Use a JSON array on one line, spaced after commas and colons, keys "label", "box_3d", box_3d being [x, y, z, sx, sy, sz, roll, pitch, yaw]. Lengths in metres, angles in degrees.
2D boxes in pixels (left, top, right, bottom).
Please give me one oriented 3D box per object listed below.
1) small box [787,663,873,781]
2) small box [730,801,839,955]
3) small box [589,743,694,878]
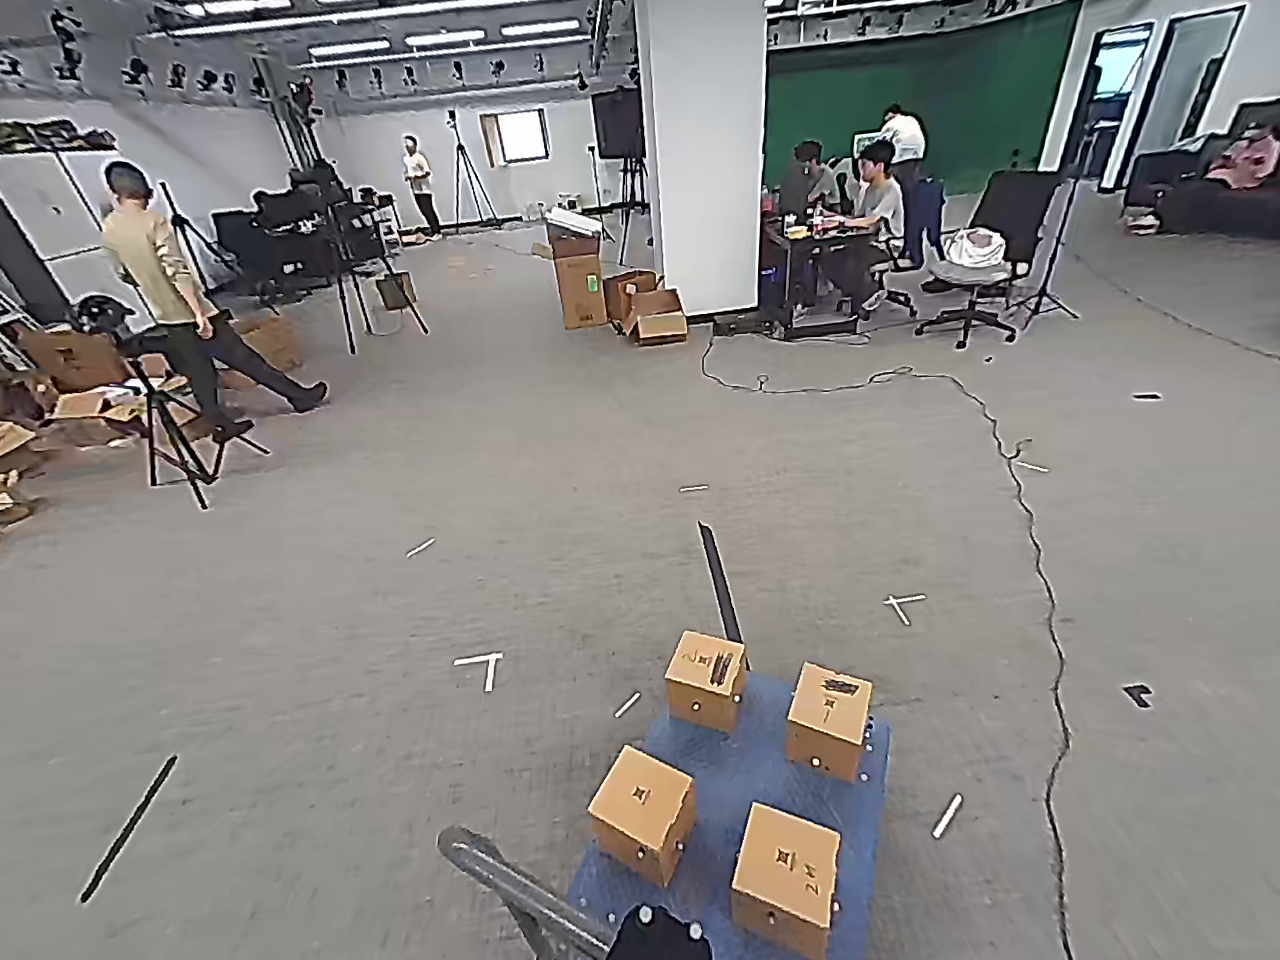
[{"label": "small box", "box_3d": [0.465, 0.596, 1.335, 0.168, 0.176, 0.179, 12, 38, 26]}, {"label": "small box", "box_3d": [0.285, 0.788, 1.072, 0.179, 0.176, 0.168, 10, 37, 24]}, {"label": "small box", "box_3d": [0.009, 0.736, 1.203, 0.179, 0.176, 0.168, 15, 38, 27]}]
